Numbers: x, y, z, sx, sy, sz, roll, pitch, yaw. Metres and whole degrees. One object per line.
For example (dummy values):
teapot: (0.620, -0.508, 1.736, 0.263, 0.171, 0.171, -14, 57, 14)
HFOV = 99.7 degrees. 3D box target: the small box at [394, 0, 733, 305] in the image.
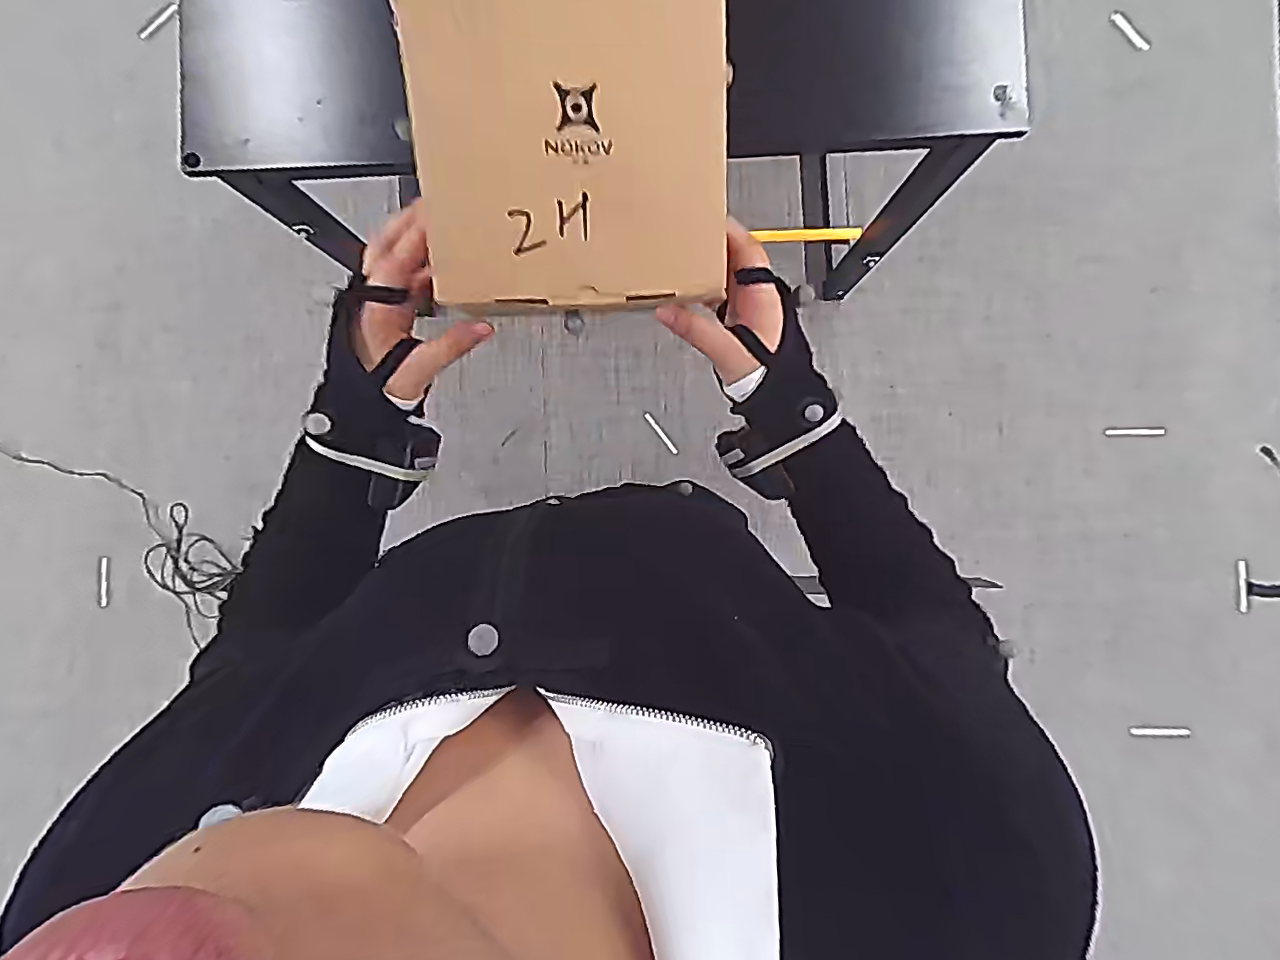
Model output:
small box: (-0.047, -0.210, 0.346, 0.168, 0.176, 0.179, -5, 106, -9)
